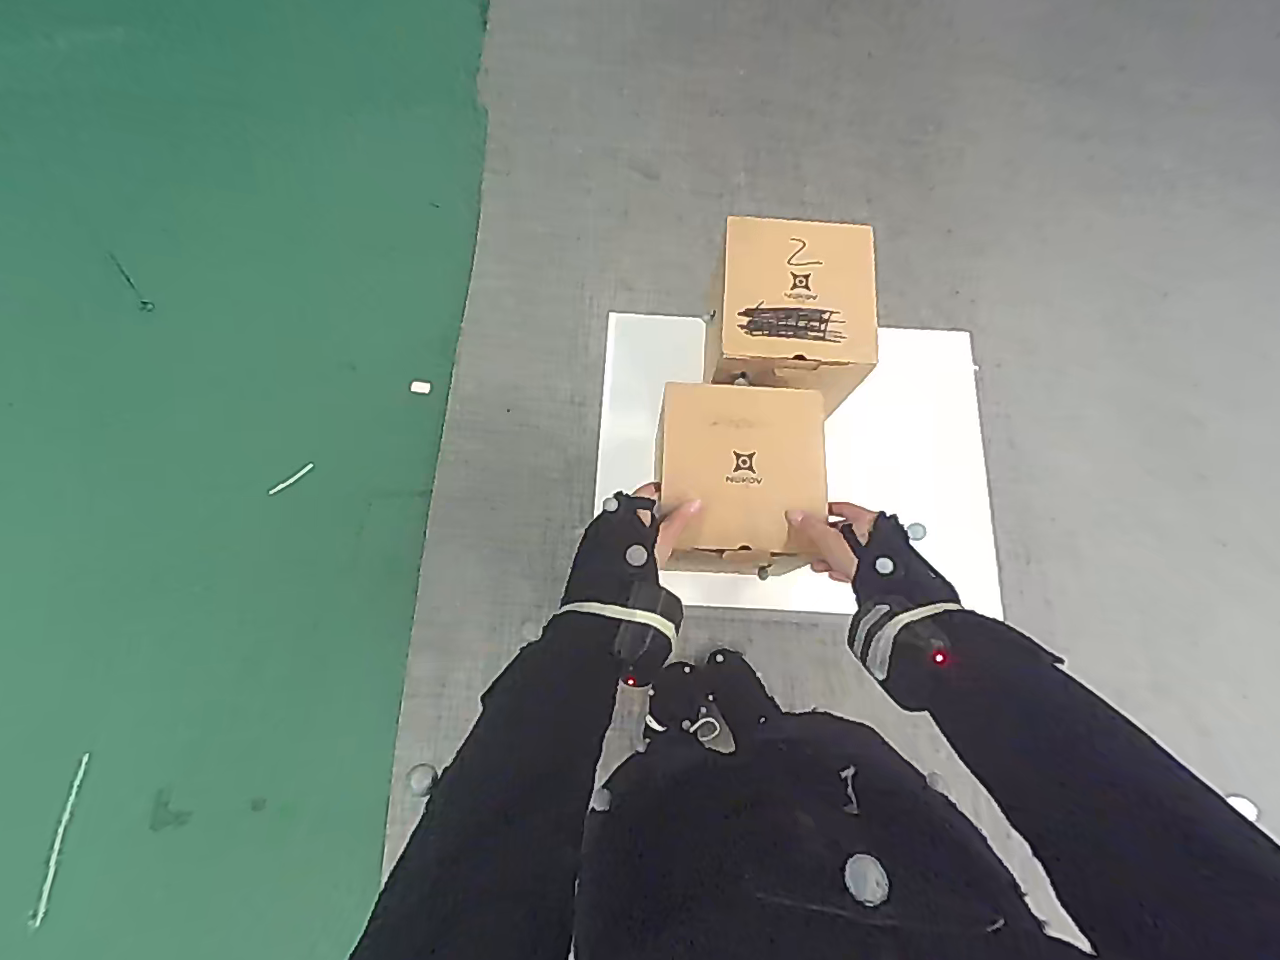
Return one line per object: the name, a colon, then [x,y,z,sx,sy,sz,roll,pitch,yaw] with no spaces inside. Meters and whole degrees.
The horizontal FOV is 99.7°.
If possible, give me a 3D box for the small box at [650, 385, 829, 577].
small box: [0.099,0.012,0.609,0.168,0.176,0.179,3,73,-2]
